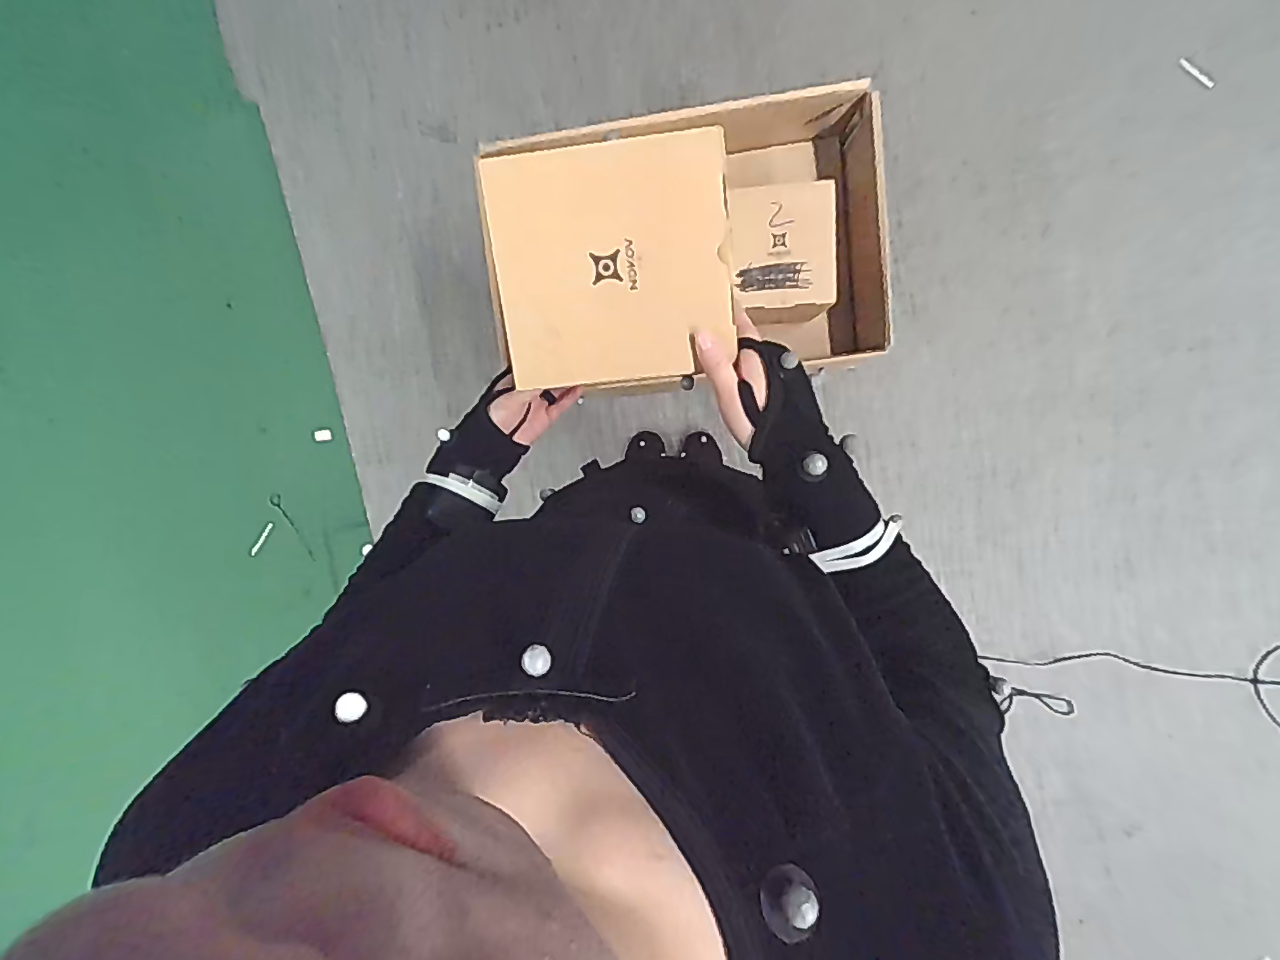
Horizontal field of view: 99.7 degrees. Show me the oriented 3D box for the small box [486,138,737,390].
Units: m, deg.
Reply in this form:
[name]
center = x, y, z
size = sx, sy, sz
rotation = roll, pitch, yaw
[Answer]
[small box]
center = -0.016, -0.172, 0.479
size = 0.179, 0.176, 0.168
rotation = -6, 104, 3
